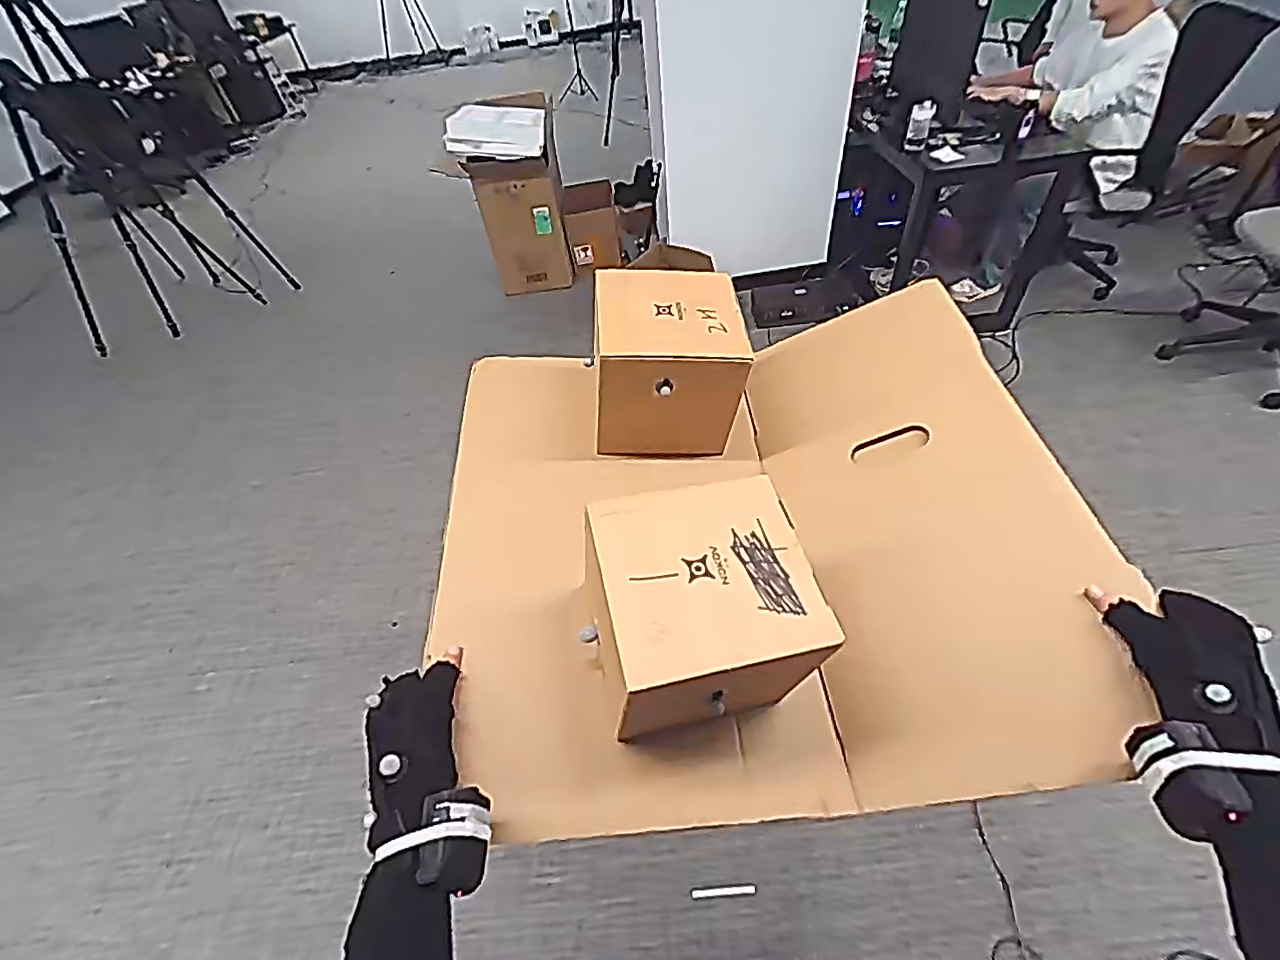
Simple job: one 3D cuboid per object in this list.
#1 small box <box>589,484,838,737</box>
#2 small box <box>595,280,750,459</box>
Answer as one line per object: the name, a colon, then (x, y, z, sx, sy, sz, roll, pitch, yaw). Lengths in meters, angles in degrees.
small box: (0.049, 0.127, 0.515, 0.179, 0.176, 0.168, -9, 55, -11)
small box: (0.029, -0.140, 0.712, 0.179, 0.176, 0.168, 0, 53, -6)
